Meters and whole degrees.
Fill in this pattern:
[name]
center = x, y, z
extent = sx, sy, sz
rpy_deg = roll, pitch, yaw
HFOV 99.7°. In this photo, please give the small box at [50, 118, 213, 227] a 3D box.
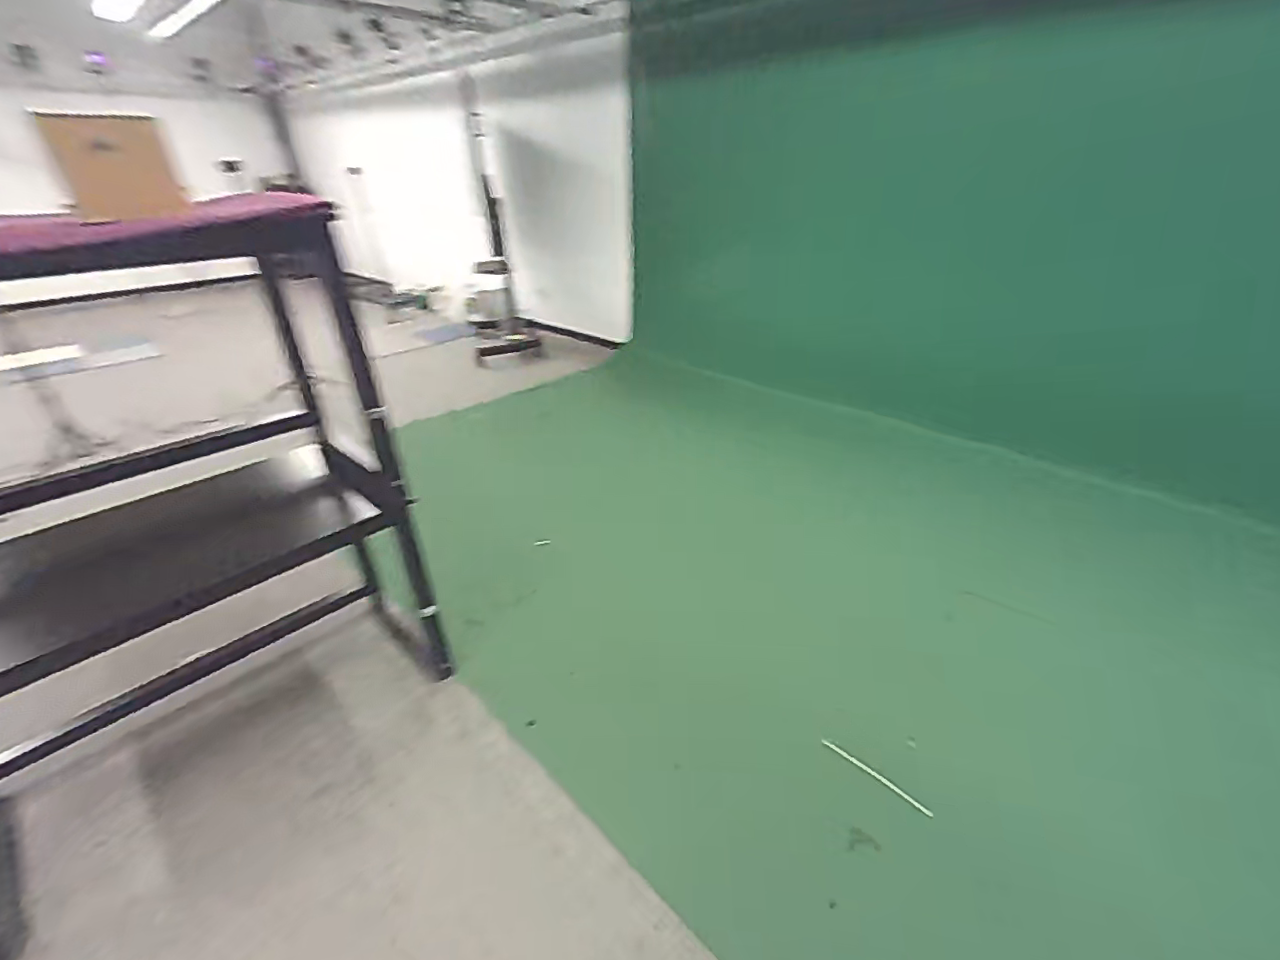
[small box]
center = -0.972, -0.586, 1.042
extent = 0.179, 0.176, 0.168
rpy_deg = -27, 37, -37
